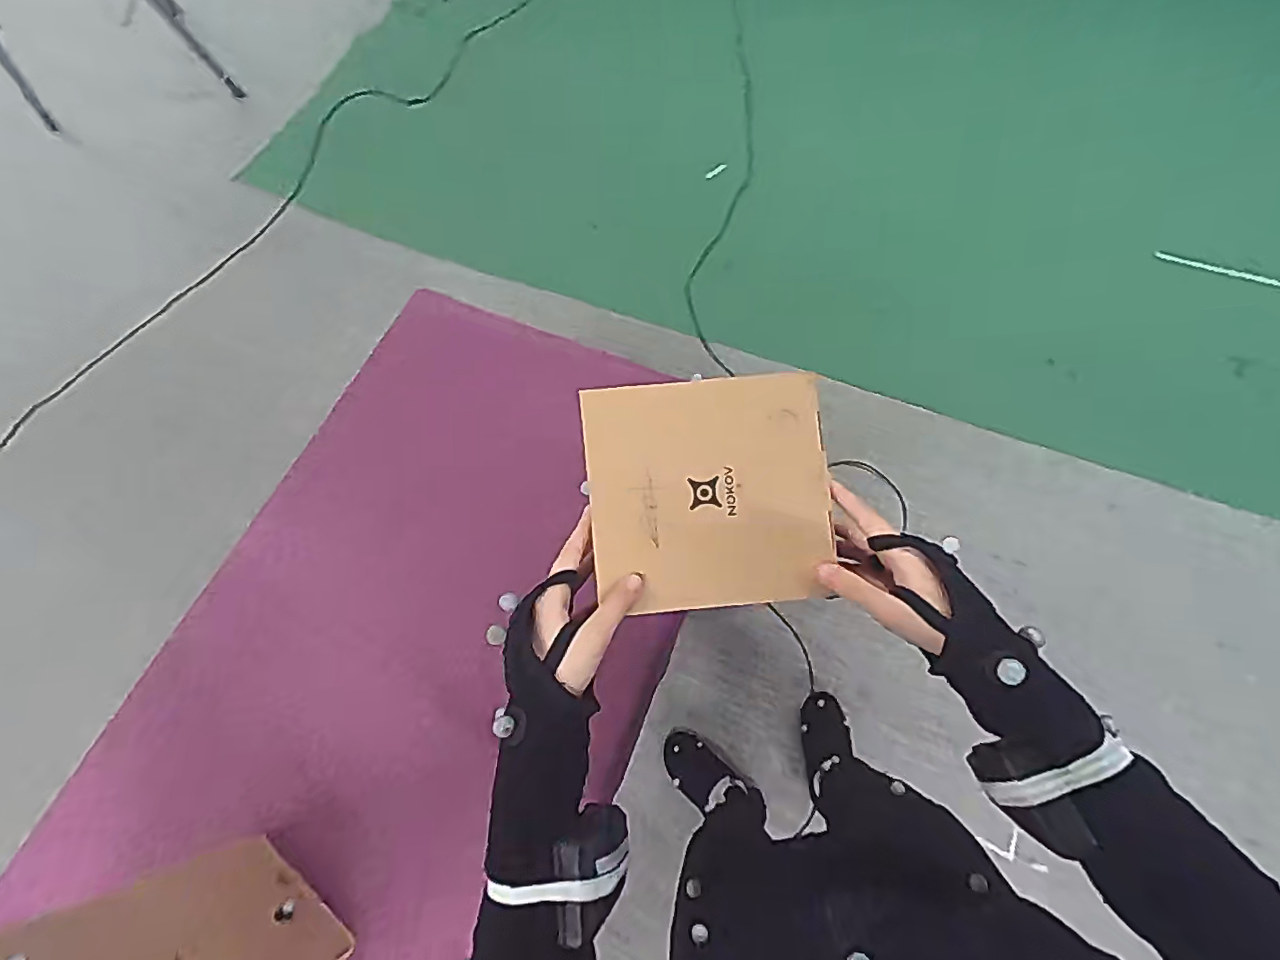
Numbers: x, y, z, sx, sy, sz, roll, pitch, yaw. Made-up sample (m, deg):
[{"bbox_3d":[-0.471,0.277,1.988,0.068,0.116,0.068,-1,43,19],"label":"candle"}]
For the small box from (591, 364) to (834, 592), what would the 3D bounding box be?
[{"bbox_3d":[0.053,0.002,0.485,0.179,0.176,0.168,-4,86,0],"label":"small box"}]
